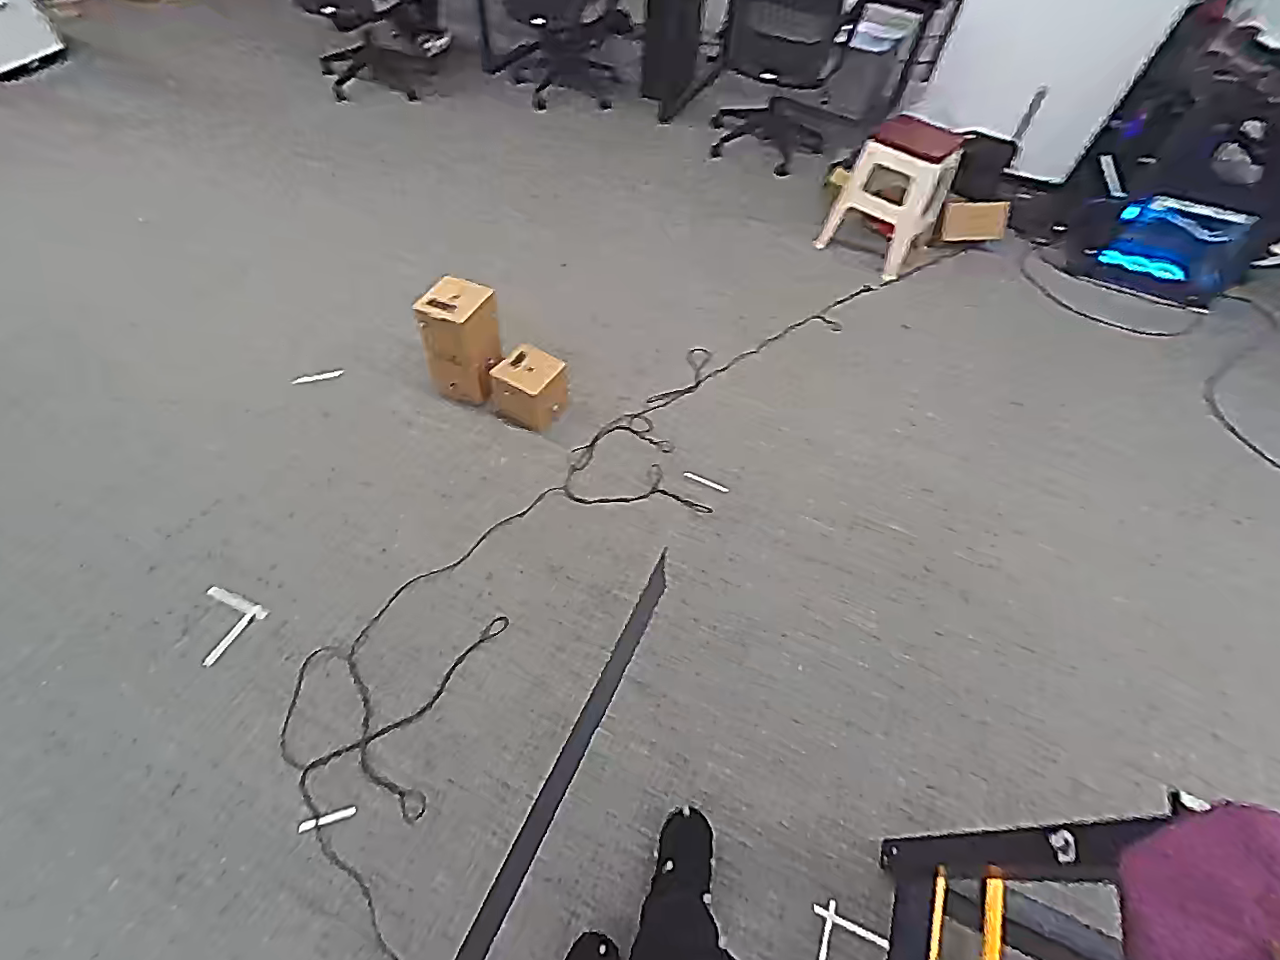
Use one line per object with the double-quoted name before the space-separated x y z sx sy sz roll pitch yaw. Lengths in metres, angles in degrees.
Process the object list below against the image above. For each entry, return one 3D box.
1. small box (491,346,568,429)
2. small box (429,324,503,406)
"small box" -0.345 -0.290 1.719 0.179 0.176 0.168 27 57 14
"small box" -0.557 -0.375 1.767 0.168 0.176 0.179 17 55 7
